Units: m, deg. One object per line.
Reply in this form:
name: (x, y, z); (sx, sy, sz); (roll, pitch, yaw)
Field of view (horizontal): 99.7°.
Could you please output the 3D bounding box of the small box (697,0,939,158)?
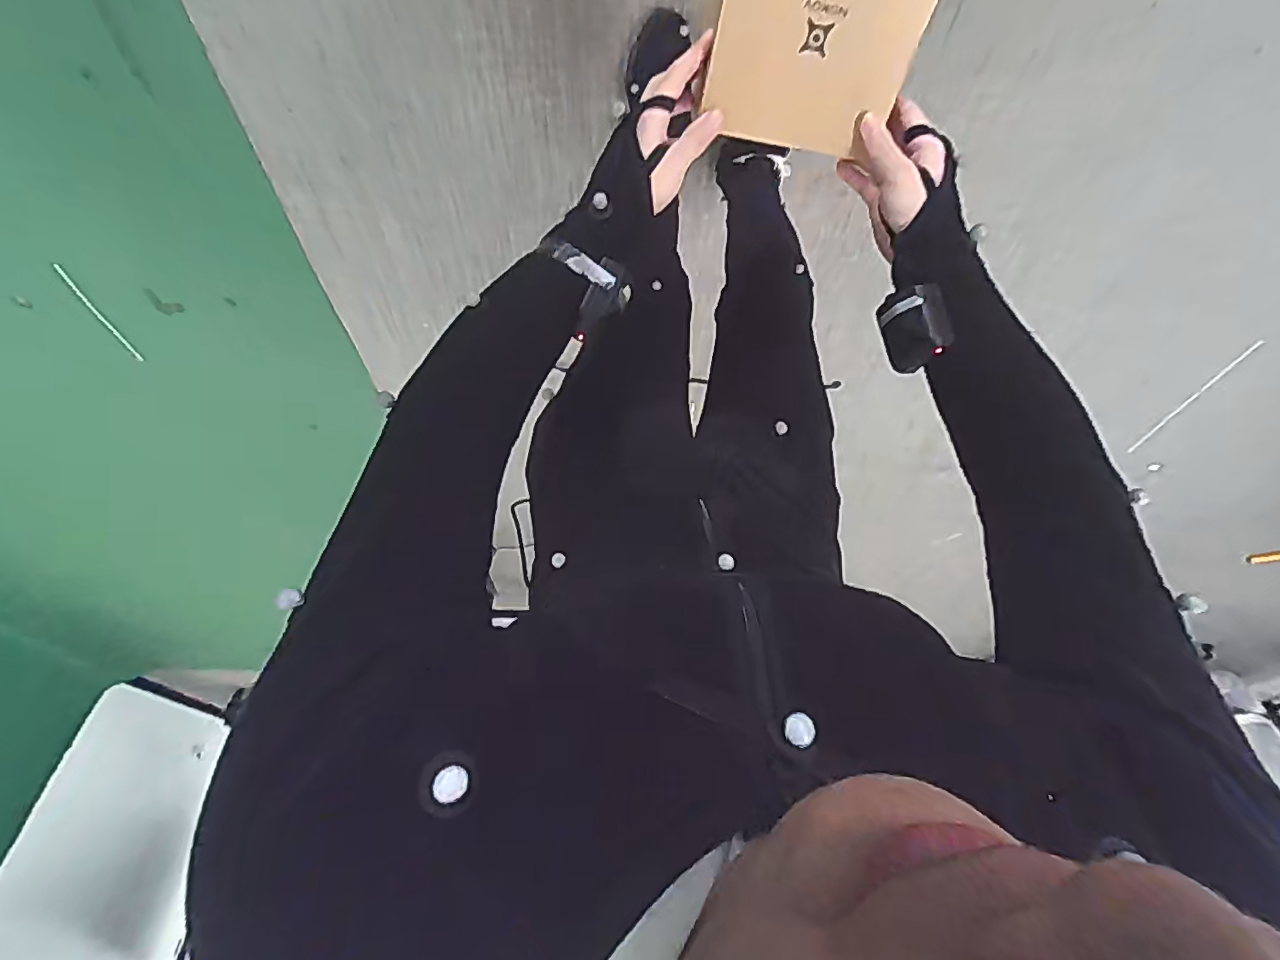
small box: (0.151, -0.424, 0.484); (0.168, 0.176, 0.179); (9, 135, -5)
